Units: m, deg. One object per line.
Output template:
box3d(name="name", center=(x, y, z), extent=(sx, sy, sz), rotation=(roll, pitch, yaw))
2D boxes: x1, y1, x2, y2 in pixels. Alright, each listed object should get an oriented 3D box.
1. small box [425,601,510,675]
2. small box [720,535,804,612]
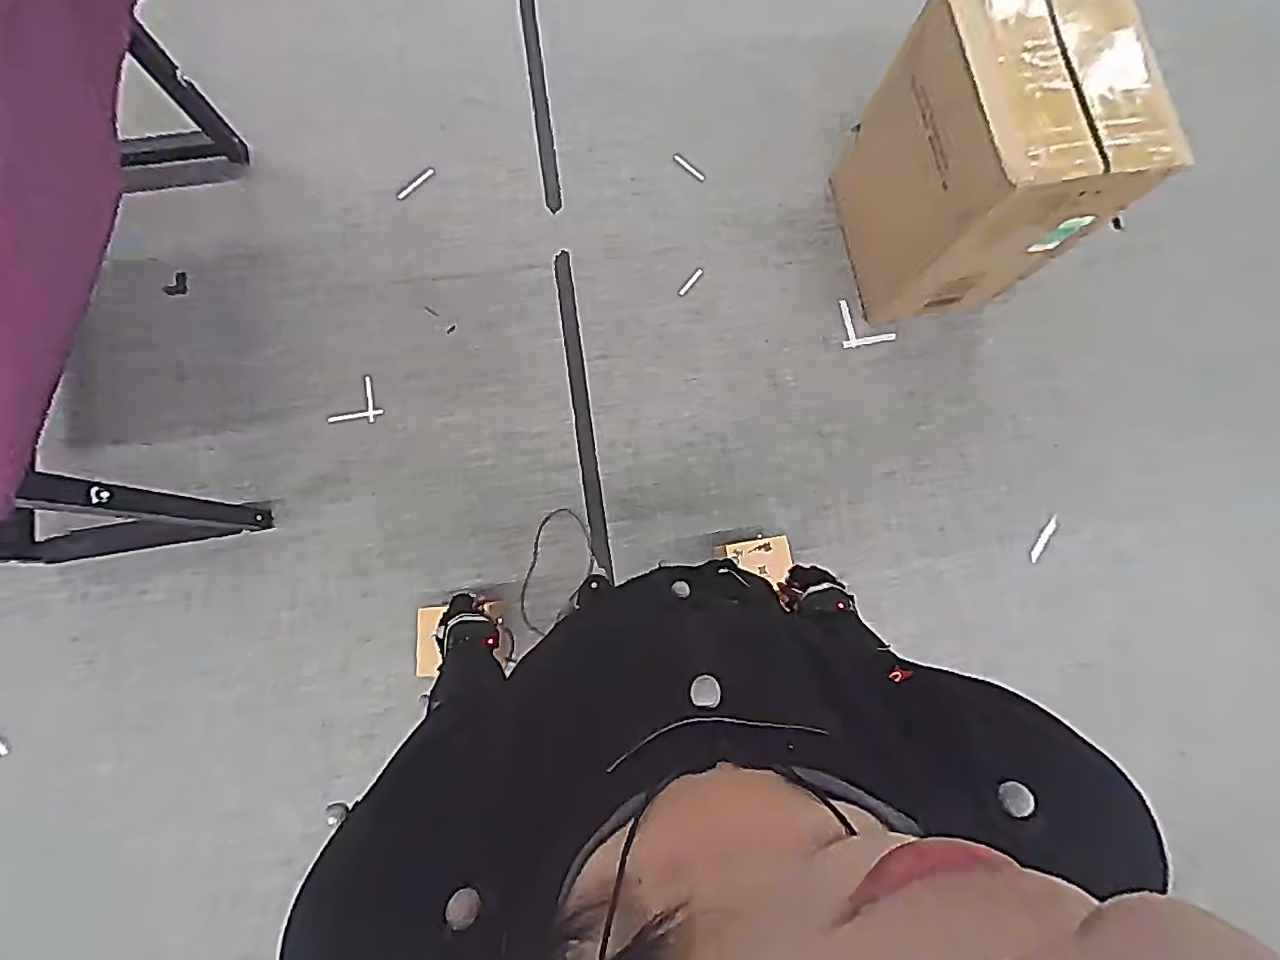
box3d(name="small box", center=(-0.437, 0.404, 1.400), extent=(0.179, 0.176, 0.168), rotation=(-4, 79, 0))
box3d(name="small box", center=(0.324, 0.249, 1.462), extent=(0.168, 0.176, 0.179), rotation=(-9, 82, -4))
